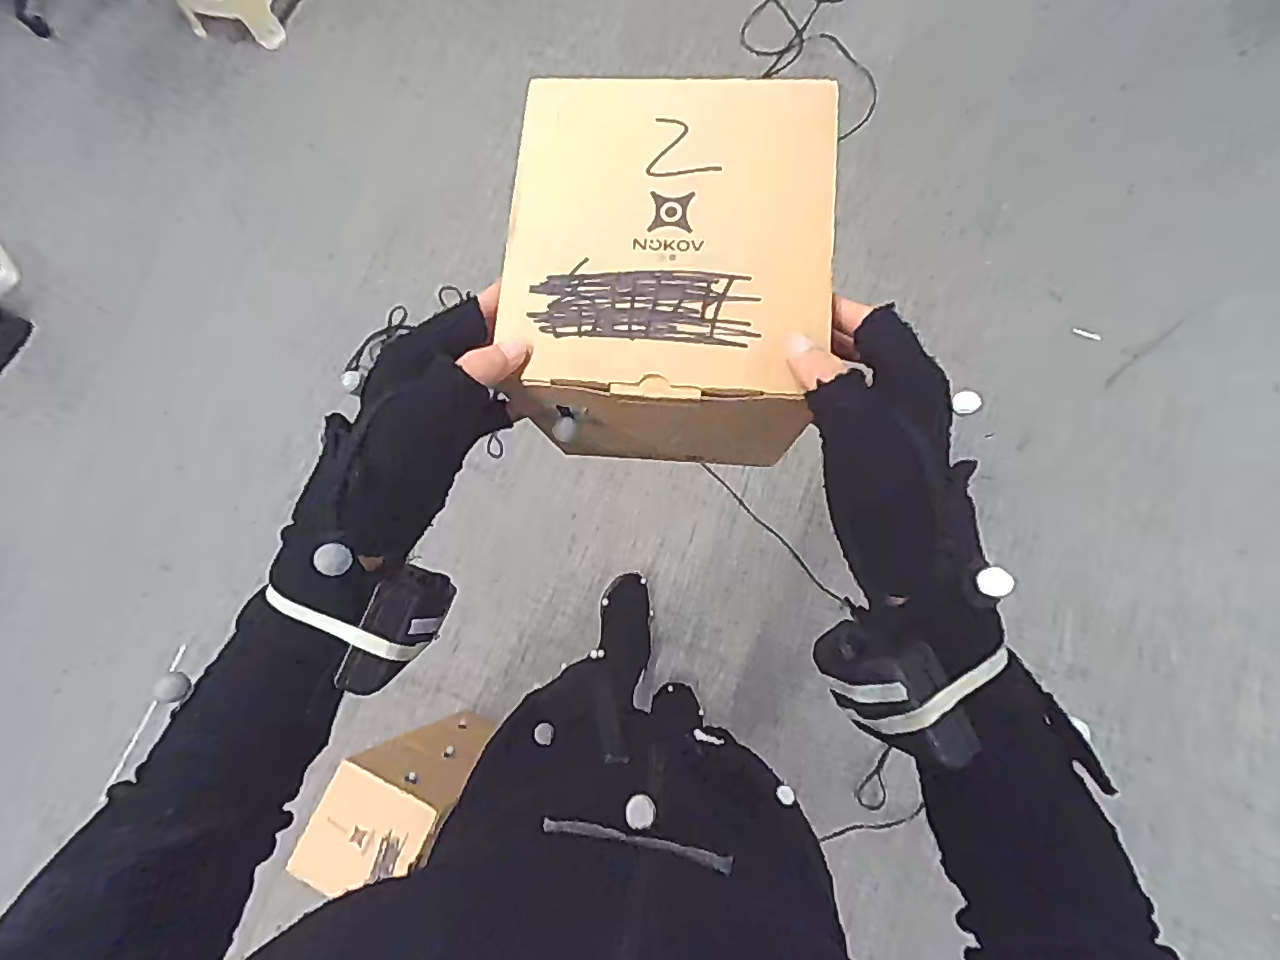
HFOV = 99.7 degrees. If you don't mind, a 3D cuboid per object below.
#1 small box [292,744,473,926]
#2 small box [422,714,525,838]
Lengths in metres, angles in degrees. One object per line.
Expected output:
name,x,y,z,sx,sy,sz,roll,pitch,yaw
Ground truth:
small box,-0.402,0.558,0.882,0.179,0.176,0.168,23,77,9
small box,-0.383,0.640,1.197,0.179,0.176,0.168,25,78,9
